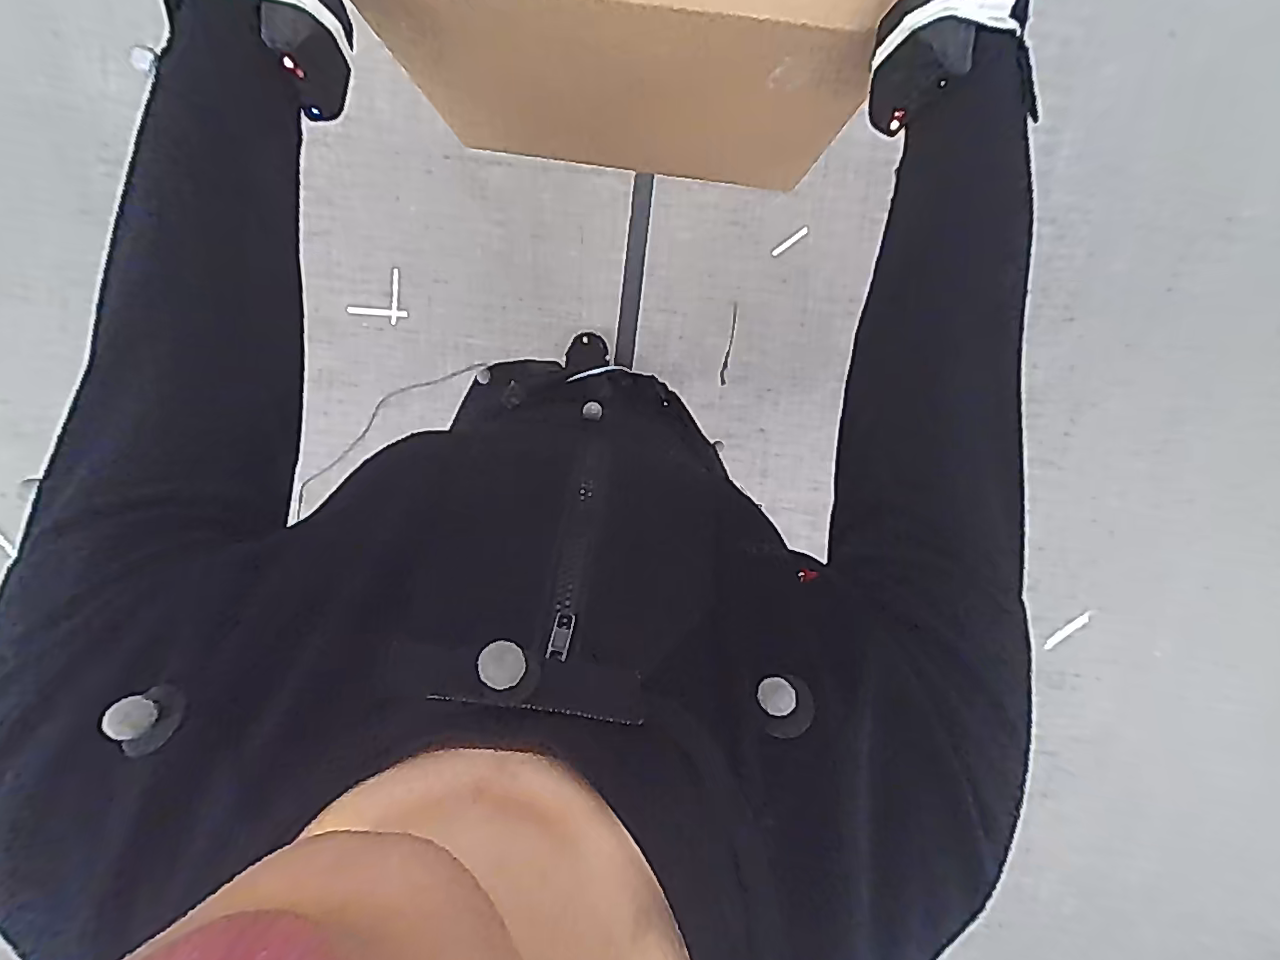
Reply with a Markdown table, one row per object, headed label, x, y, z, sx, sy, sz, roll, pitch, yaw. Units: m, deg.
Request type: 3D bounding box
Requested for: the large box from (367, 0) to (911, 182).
| label | x | y | z | sx | sy | sz | roll | pitch | yaw |
| --- | --- | --- | --- | --- | --- | --- | --- | --- | --- |
| large box | 0.003 | -0.505 | 0.489 | 0.408 | 0.320 | 0.320 | 7 | 102 | -1 |
